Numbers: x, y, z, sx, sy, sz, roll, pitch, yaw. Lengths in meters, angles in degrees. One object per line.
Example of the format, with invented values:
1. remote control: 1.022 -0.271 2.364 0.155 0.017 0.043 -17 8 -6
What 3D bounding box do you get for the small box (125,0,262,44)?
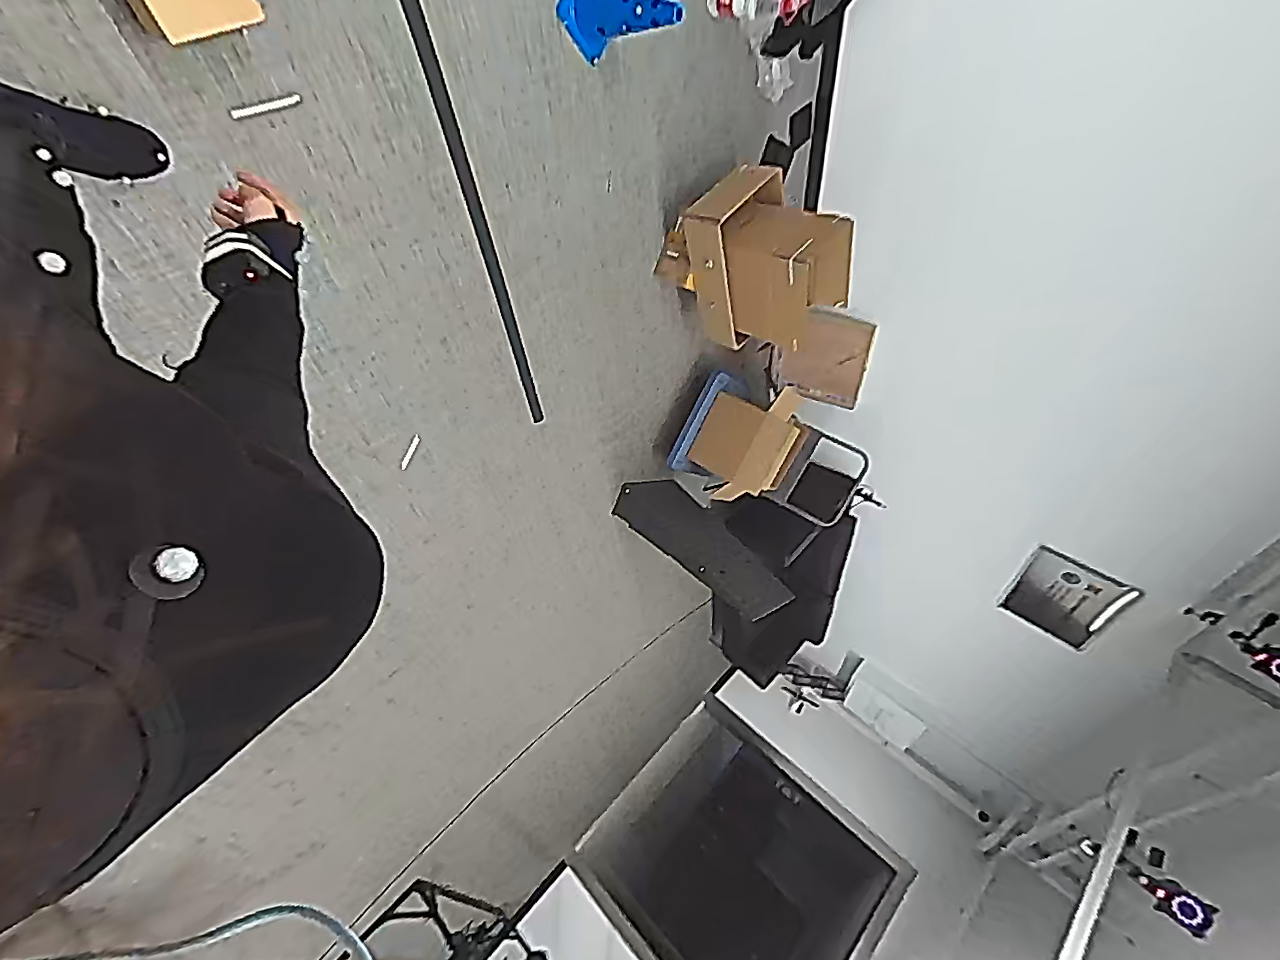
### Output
1. small box: -0.838 -0.909 0.970 0.179 0.176 0.168 -42 145 -23
